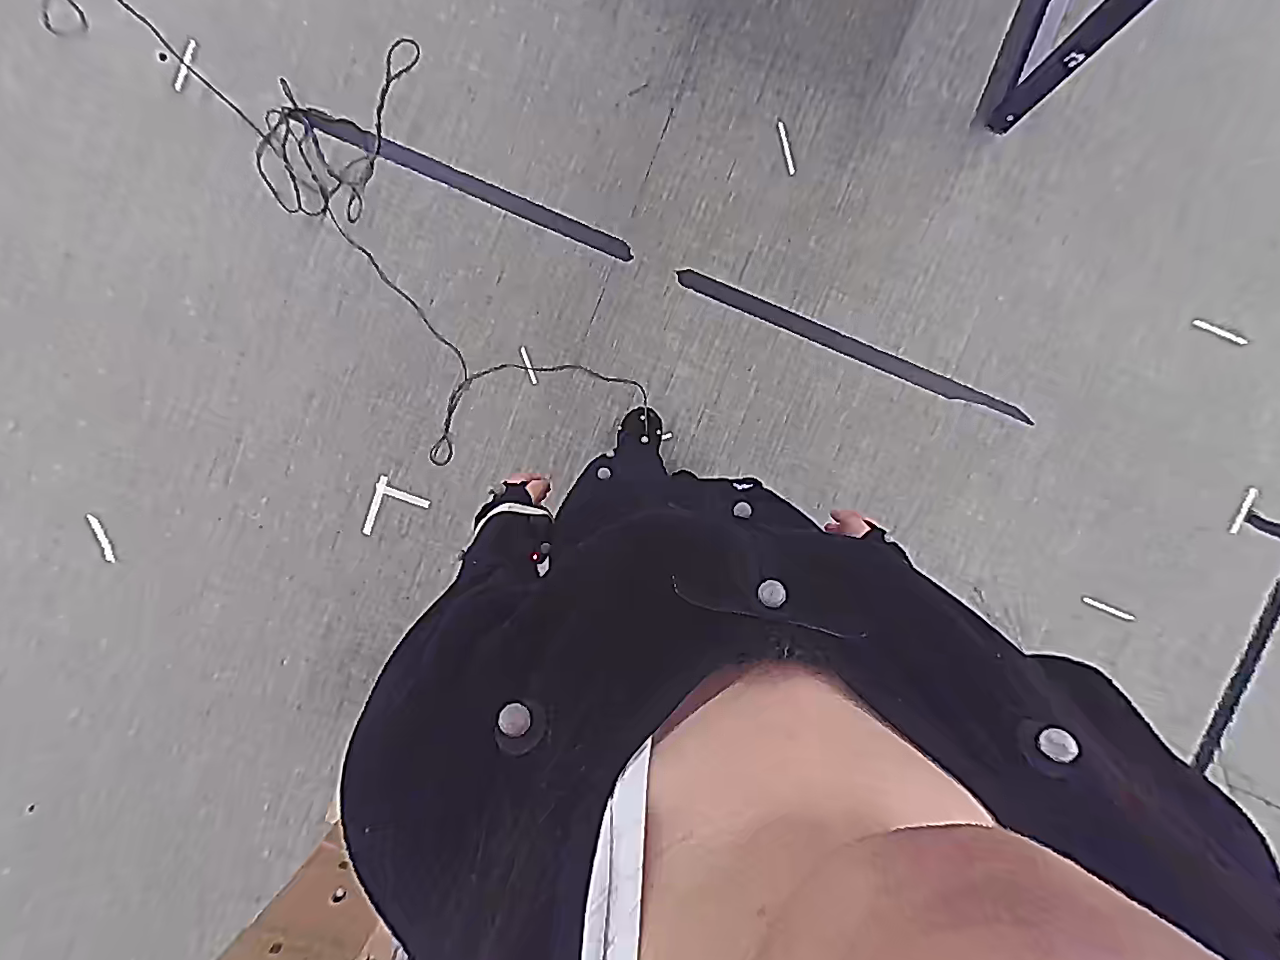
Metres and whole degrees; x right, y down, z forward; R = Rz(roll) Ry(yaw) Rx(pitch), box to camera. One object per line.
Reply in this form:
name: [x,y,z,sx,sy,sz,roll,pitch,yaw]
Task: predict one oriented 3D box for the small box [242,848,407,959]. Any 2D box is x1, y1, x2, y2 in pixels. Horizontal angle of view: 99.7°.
small box: [-0.488,0.724,0.842,0.168,0.176,0.179,14,93,1]
